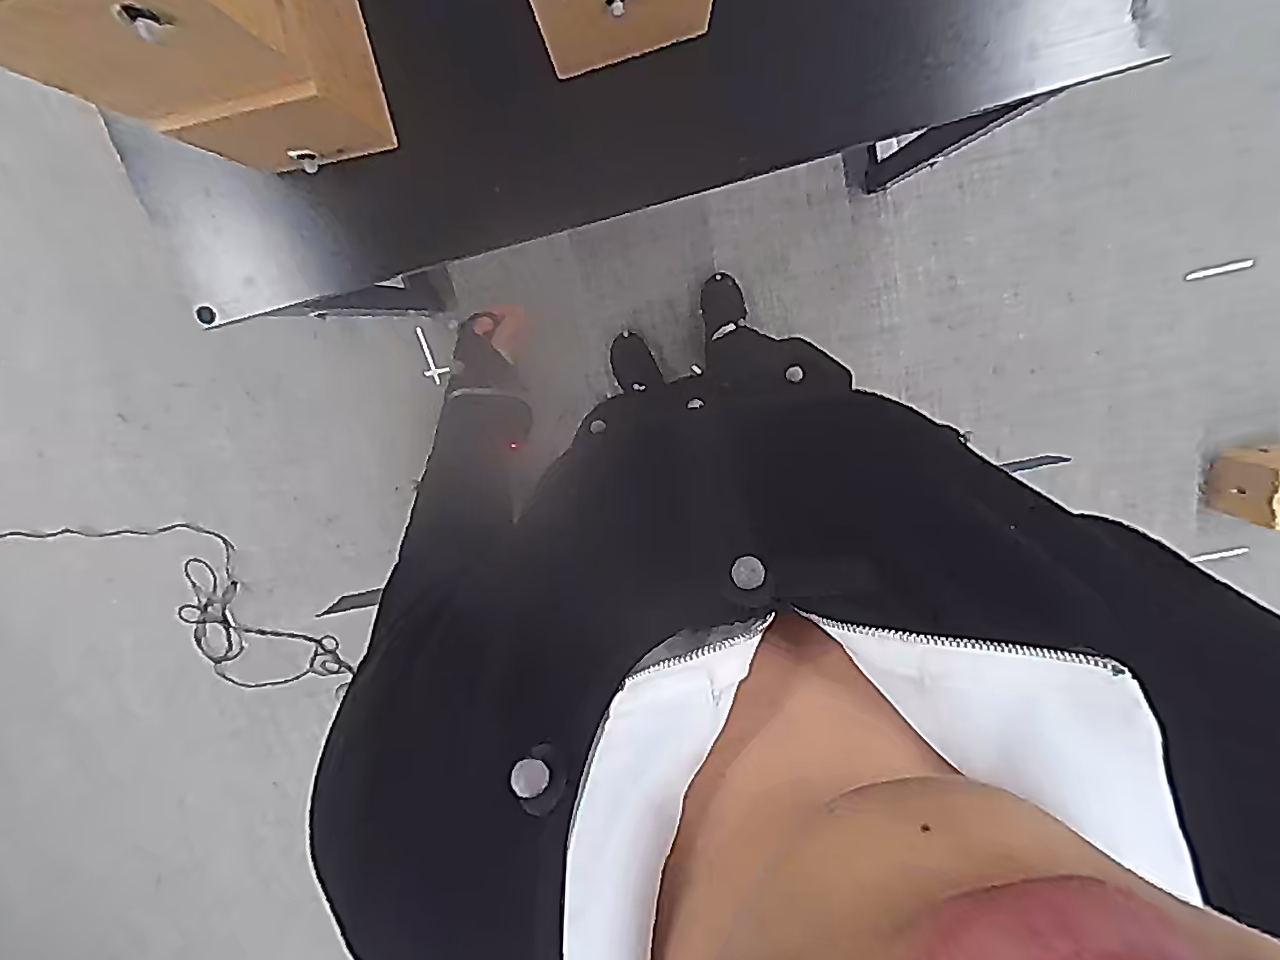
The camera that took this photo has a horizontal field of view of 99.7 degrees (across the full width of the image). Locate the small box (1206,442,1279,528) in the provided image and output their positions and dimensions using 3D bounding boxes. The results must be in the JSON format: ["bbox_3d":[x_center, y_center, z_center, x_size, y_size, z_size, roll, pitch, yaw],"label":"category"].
[{"bbox_3d":[1.648,0.010,1.412,0.179,0.176,0.168,-11,107,5],"label":"small box"}]

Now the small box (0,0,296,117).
[{"bbox_3d":[-0.390,-0.397,0.390,0.179,0.176,0.168,-10,105,5],"label":"small box"}]

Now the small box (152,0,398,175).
[{"bbox_3d":[-0.380,-0.439,0.549,0.168,0.176,0.179,-10,107,5],"label":"small box"}]

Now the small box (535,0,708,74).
[{"bbox_3d":[-0.029,-0.531,0.514,0.179,0.176,0.168,-14,106,4],"label":"small box"}]
